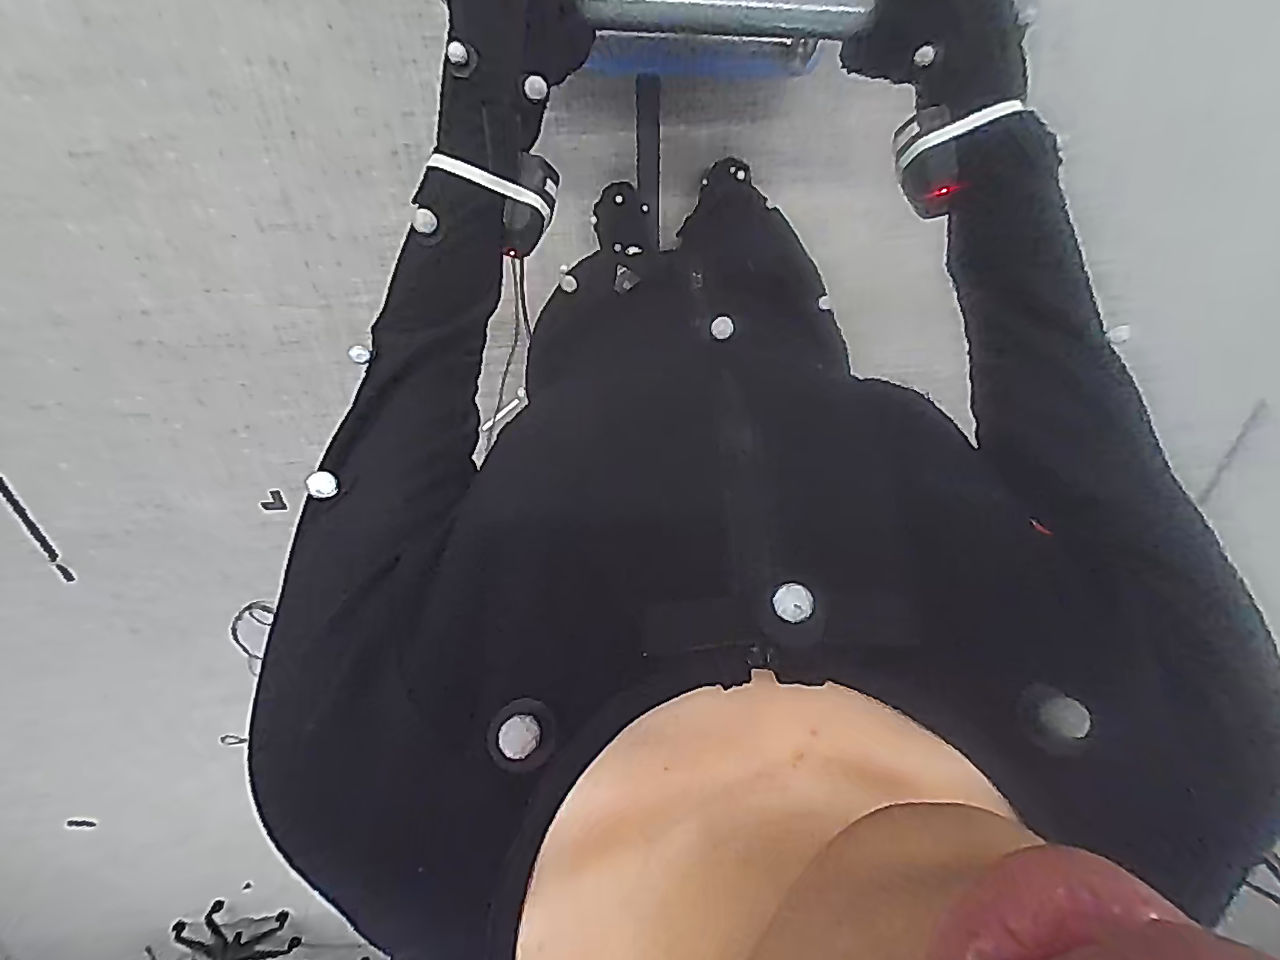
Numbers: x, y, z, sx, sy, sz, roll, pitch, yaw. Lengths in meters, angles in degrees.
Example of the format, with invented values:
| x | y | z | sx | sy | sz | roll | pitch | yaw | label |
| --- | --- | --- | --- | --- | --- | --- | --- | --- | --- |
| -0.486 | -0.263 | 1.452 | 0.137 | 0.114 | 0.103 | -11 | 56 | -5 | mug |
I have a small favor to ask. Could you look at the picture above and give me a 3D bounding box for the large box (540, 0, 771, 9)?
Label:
| x | y | z | sx | sy | sz | roll | pitch | yaw | label |
| --- | --- | --- | --- | --- | --- | --- | --- | --- | --- |
| 0.035 | -0.870 | 0.727 | 0.408 | 0.320 | 0.320 | -2 | 122 | -5 | large box |
